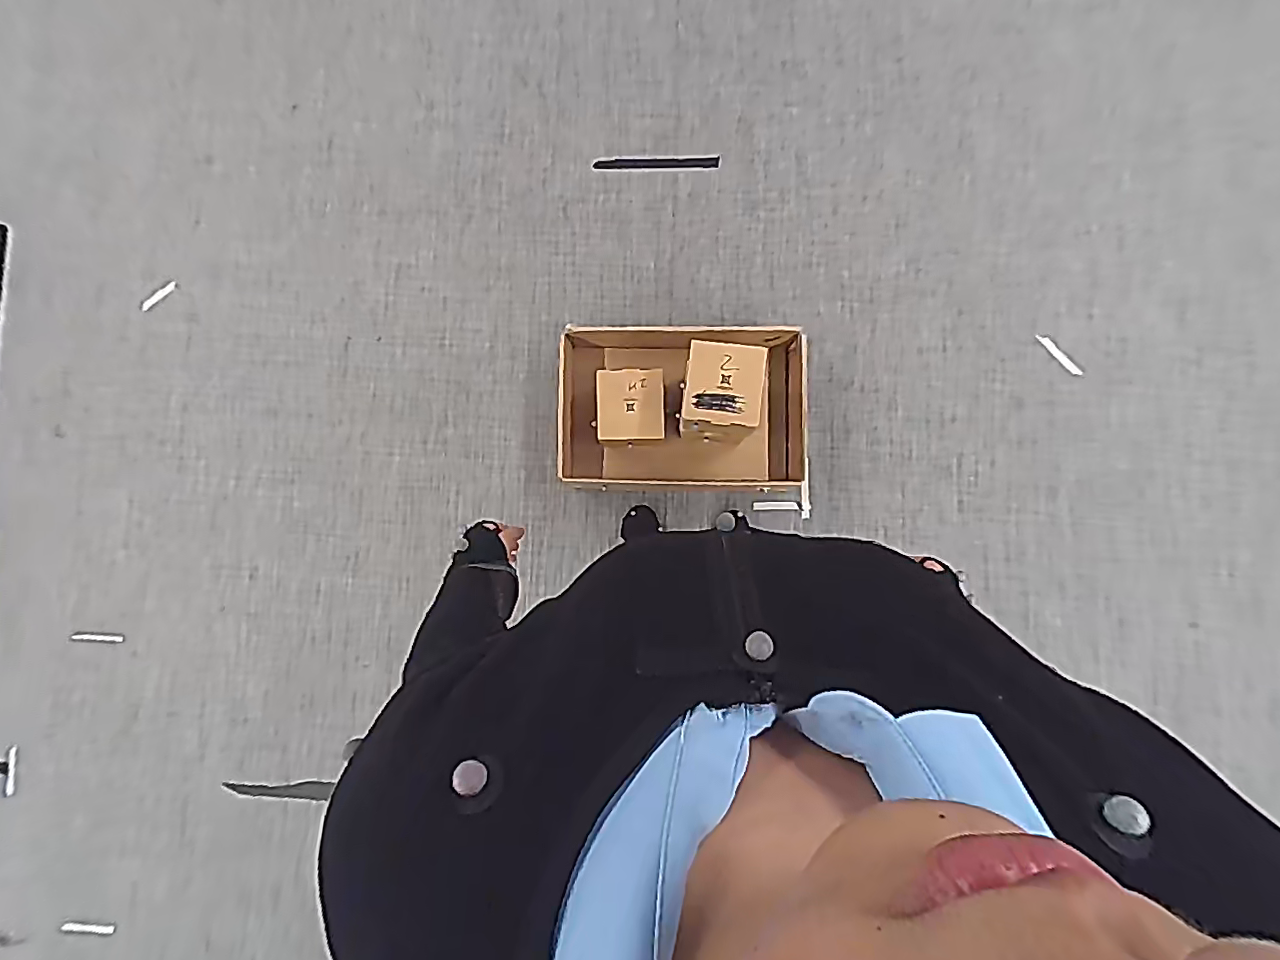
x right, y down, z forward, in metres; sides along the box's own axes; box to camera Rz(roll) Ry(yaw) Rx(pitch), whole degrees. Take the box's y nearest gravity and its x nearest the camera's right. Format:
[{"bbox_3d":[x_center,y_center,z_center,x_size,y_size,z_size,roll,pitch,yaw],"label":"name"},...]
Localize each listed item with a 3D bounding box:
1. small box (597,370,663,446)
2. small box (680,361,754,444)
[{"bbox_3d":[-0.023,-0.180,1.403,0.168,0.176,0.179,-1,87,0],"label":"small box"},{"bbox_3d":[0.194,-0.197,1.400,0.168,0.176,0.179,5,88,4],"label":"small box"}]
